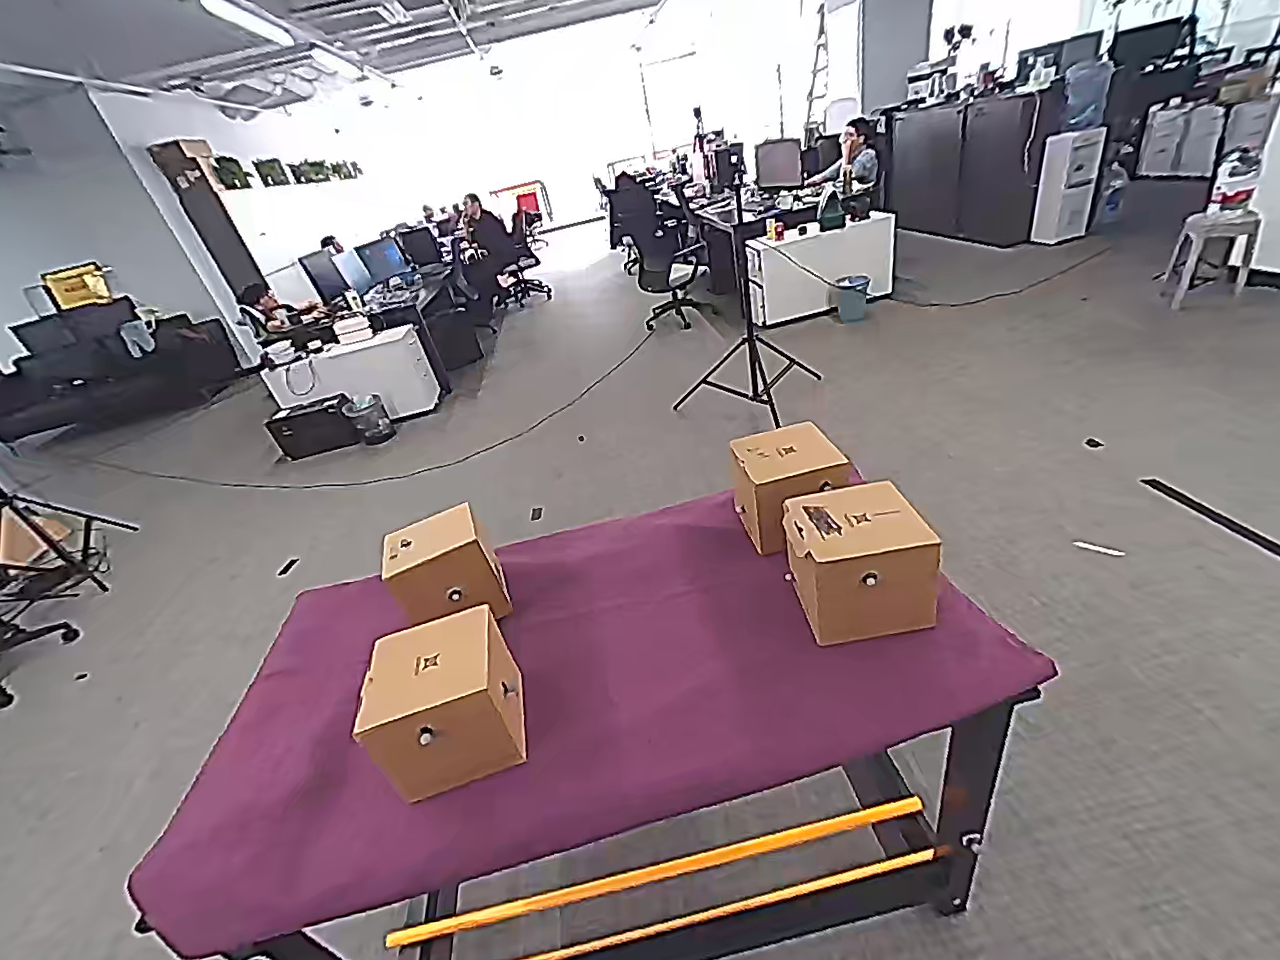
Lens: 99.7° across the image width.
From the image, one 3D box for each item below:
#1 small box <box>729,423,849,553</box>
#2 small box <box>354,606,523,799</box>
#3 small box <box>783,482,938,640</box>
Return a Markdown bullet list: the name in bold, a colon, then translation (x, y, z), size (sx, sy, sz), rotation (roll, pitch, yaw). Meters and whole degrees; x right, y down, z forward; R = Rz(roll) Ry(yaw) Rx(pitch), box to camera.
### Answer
- **small box**: translation (0.284, 0.015, 1.047), size (0.179, 0.176, 0.168), rotation (-14, 32, -1)
- **small box**: translation (-0.276, 0.321, 0.788), size (0.179, 0.176, 0.168), rotation (-18, 31, -6)
- **small box**: translation (0.338, 0.128, 0.847), size (0.179, 0.176, 0.168), rotation (-11, 30, 4)
